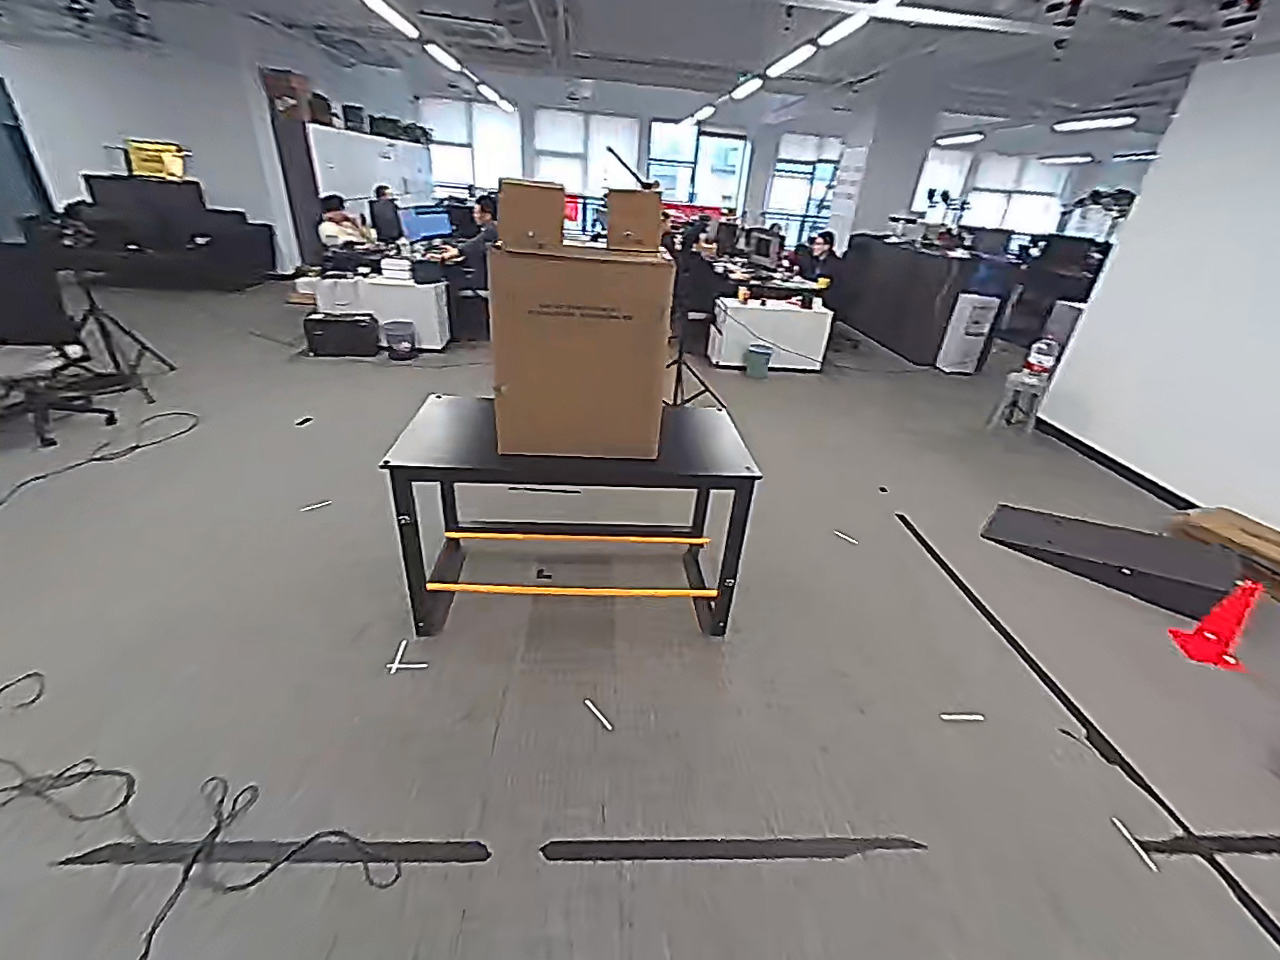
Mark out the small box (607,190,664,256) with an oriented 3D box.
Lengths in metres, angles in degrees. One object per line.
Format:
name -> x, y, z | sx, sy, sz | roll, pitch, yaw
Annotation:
small box -> -0.017, -0.800, 1.681 | 0.168, 0.176, 0.179 | 1, 28, -2
